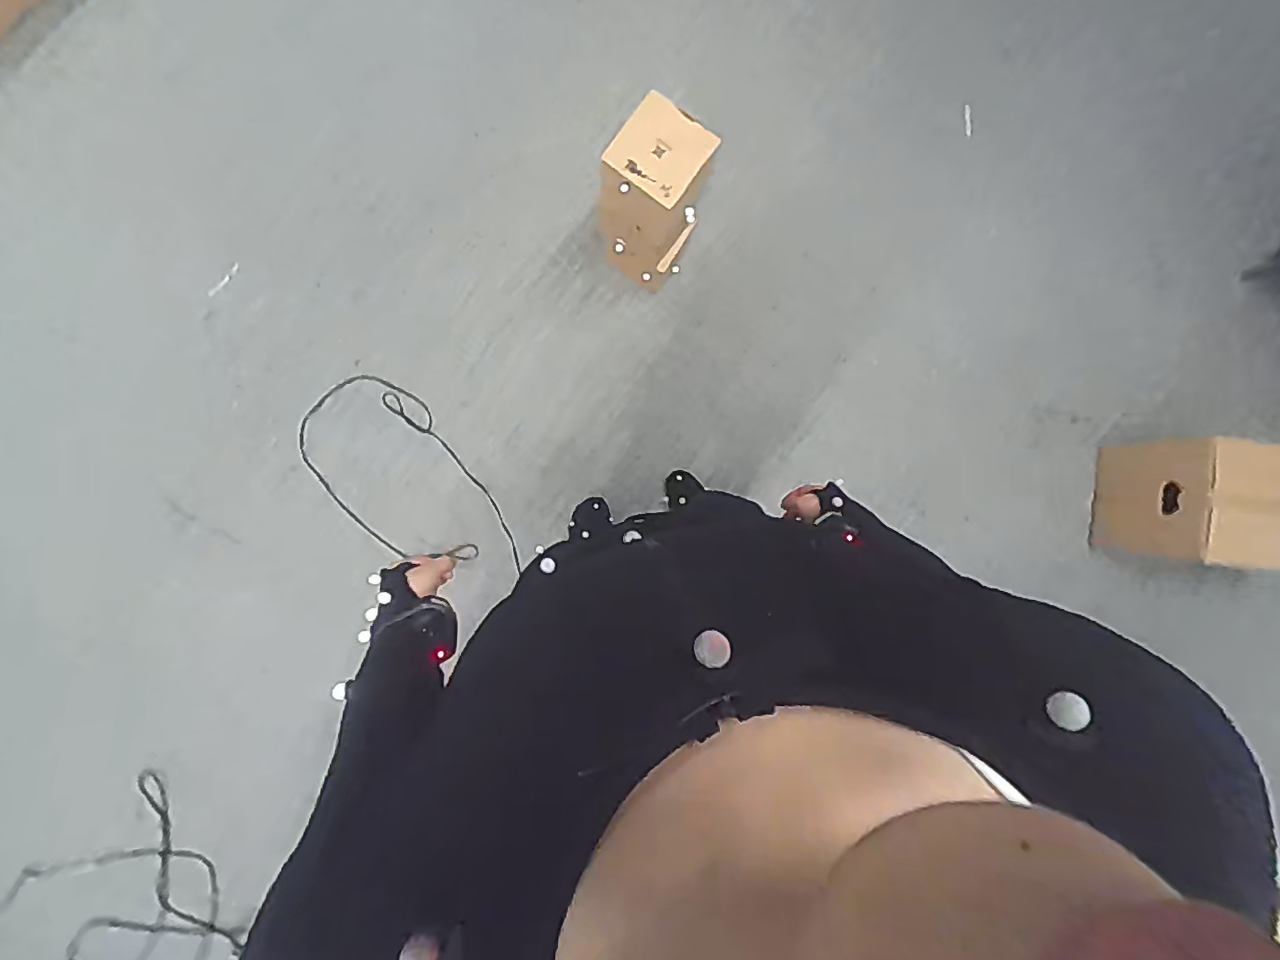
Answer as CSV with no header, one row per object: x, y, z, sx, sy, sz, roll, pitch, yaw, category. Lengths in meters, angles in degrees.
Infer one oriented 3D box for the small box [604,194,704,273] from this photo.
0.025,-0.631,1.274,0.168,0.176,0.179,37,87,-3,small box

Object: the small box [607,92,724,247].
0.042,-0.625,1.110,0.168,0.176,0.179,37,85,-3,small box
